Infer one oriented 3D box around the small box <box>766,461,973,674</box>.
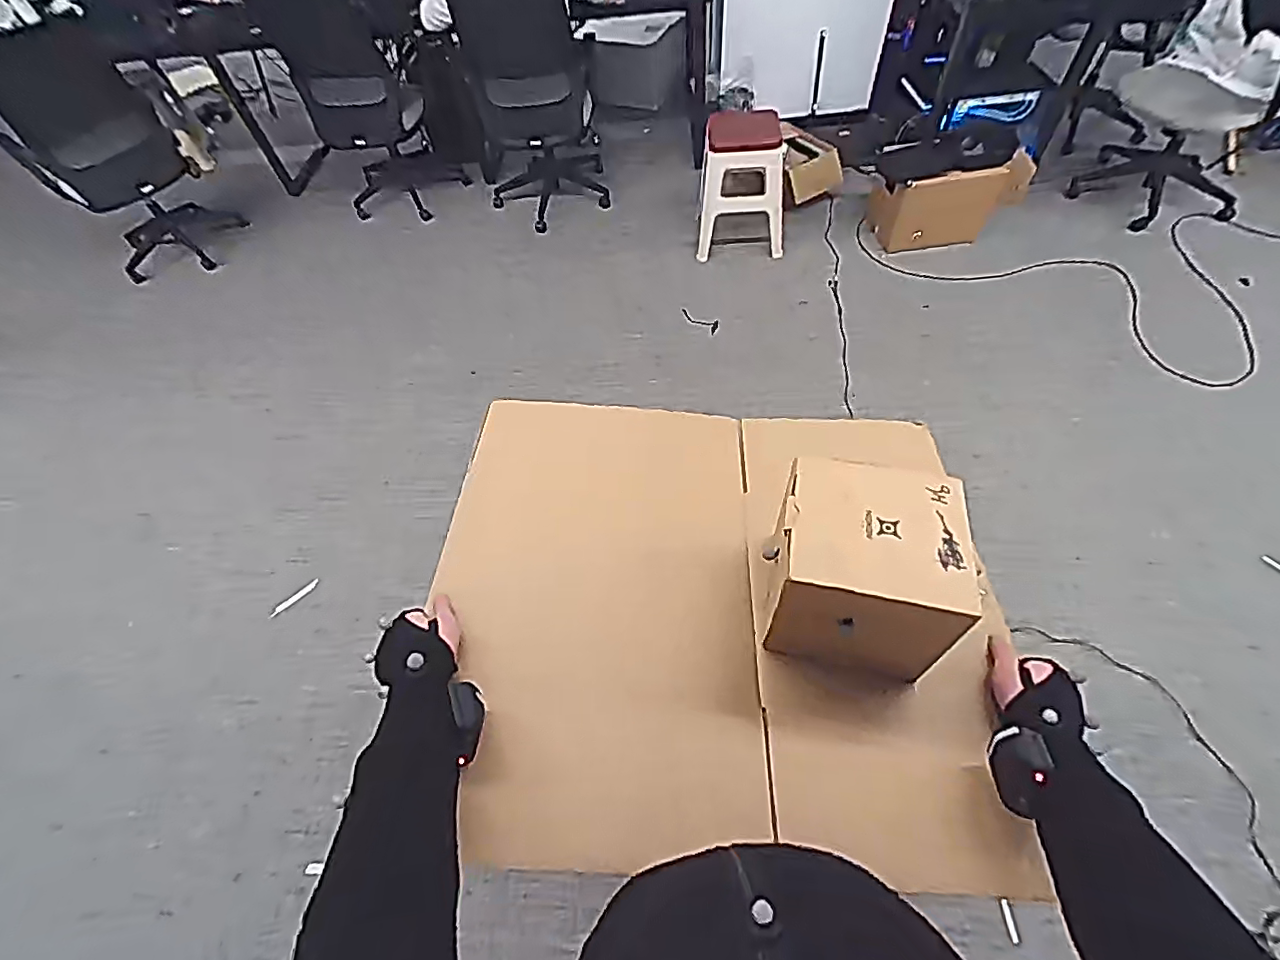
[{"bbox_3d":[0.245,0.102,0.618,0.179,0.176,0.168,9,52,11],"label":"small box"}]
